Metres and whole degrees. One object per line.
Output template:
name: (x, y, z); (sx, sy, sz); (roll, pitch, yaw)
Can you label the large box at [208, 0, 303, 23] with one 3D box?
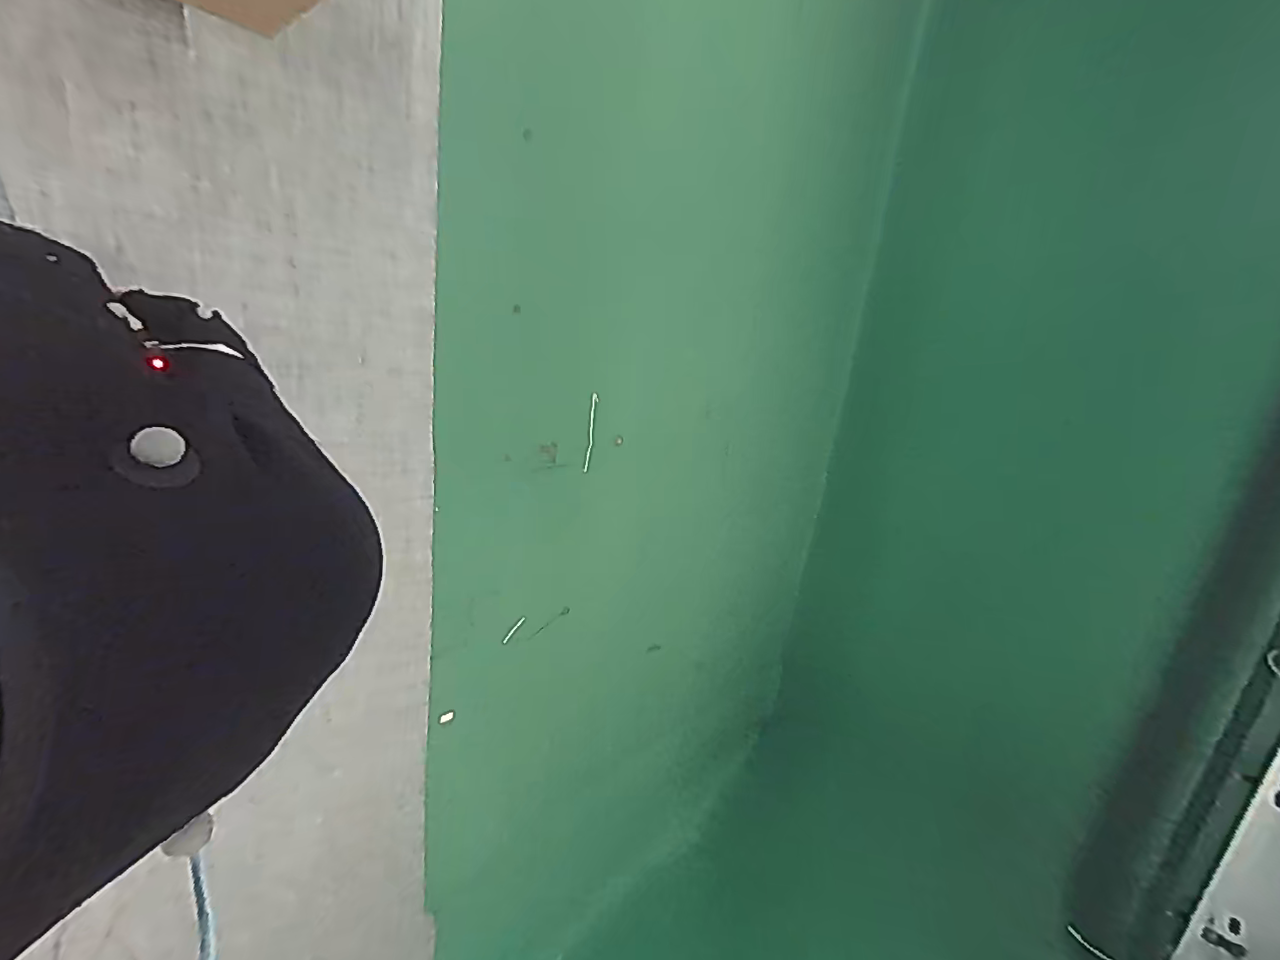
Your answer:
large box: (-0.692, -0.923, 0.730); (0.408, 0.320, 0.320); (-8, 112, -48)
